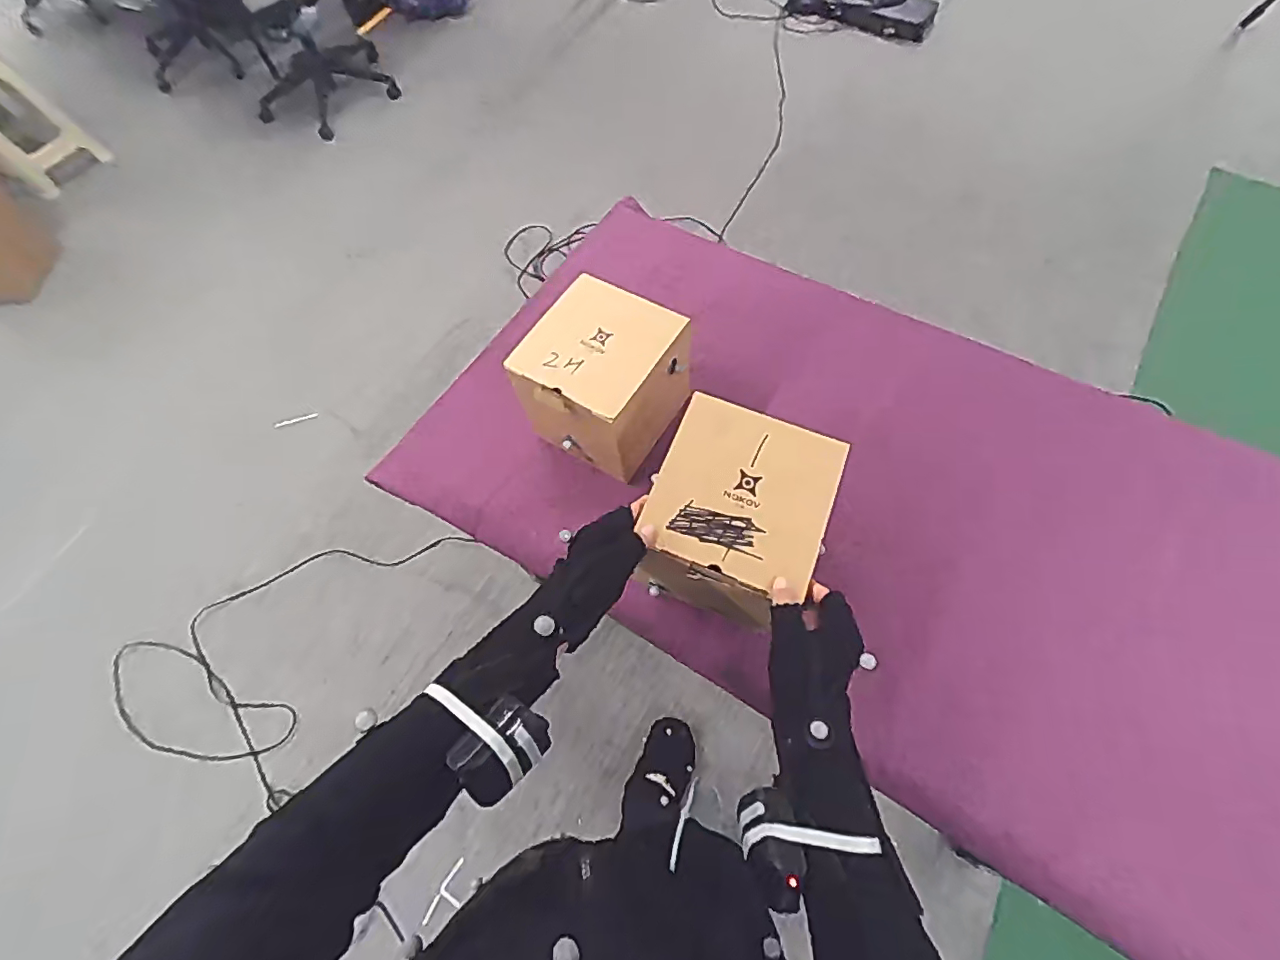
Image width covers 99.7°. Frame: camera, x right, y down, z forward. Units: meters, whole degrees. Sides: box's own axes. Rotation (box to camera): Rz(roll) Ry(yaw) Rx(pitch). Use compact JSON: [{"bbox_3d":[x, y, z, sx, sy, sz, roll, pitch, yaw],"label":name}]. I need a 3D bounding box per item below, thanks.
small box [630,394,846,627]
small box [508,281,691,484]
[{"bbox_3d":[0.100,0.043,0.594,0.168,0.176,0.179,21,67,10],"label":"small box"},{"bbox_3d":[-0.045,-0.127,0.738,0.168,0.176,0.179,28,70,18],"label":"small box"}]
